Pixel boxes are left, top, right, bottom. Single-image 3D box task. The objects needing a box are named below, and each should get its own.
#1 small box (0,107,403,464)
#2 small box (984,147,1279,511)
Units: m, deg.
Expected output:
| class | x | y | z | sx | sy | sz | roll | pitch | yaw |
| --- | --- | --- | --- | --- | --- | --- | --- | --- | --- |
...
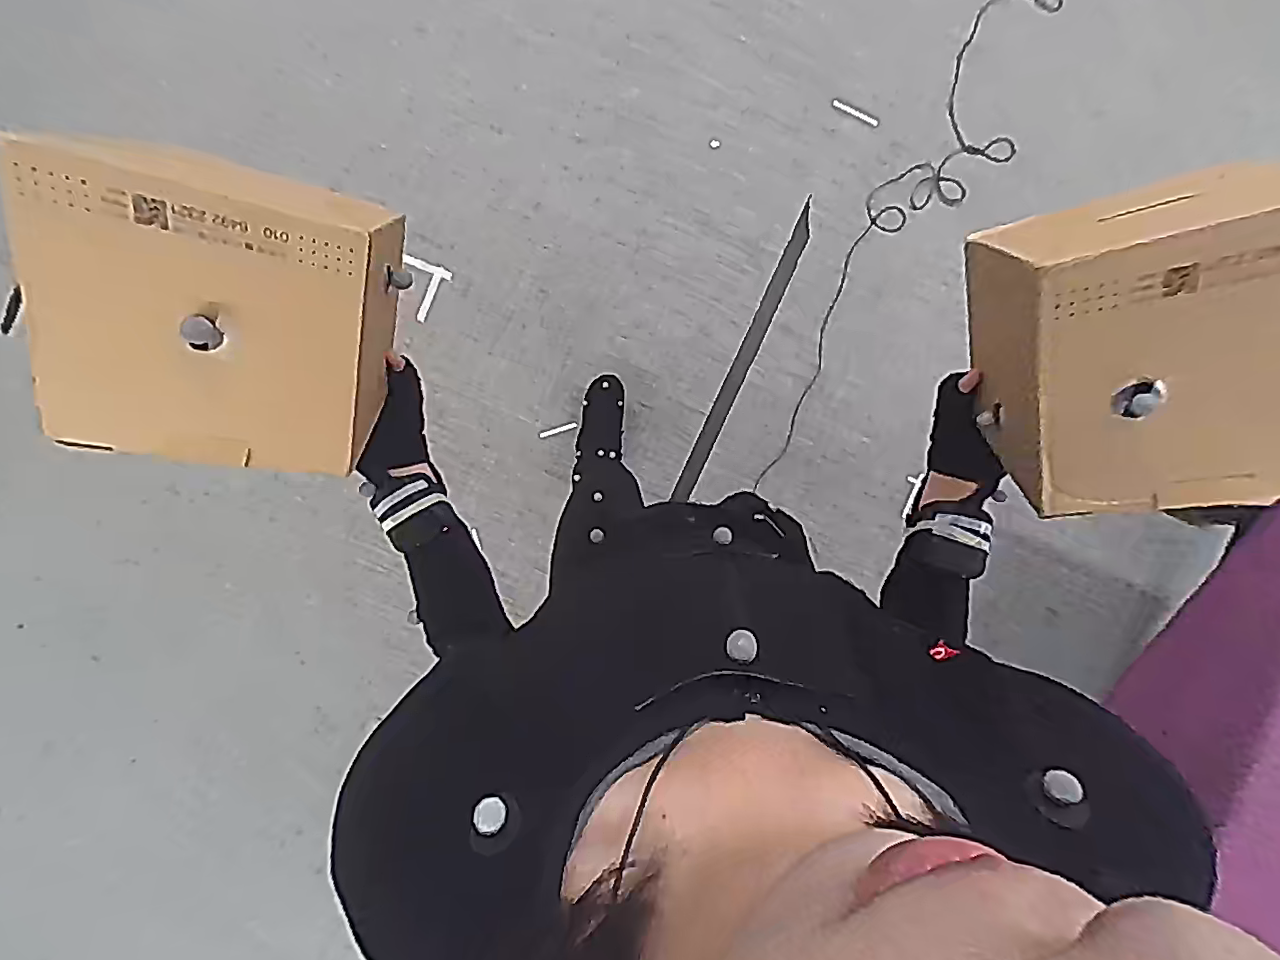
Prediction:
| class | x | y | z | sx | sy | sz | roll | pitch | yaw |
| --- | --- | --- | --- | --- | --- | --- | --- | --- | --- |
| small box | -0.269 | -0.132 | 0.374 | 0.168 | 0.179 | 0.176 | 10 | 115 | -20 |
| small box | 0.337 | -0.102 | 0.351 | 0.168 | 0.179 | 0.176 | -7 | 116 | 21 |
